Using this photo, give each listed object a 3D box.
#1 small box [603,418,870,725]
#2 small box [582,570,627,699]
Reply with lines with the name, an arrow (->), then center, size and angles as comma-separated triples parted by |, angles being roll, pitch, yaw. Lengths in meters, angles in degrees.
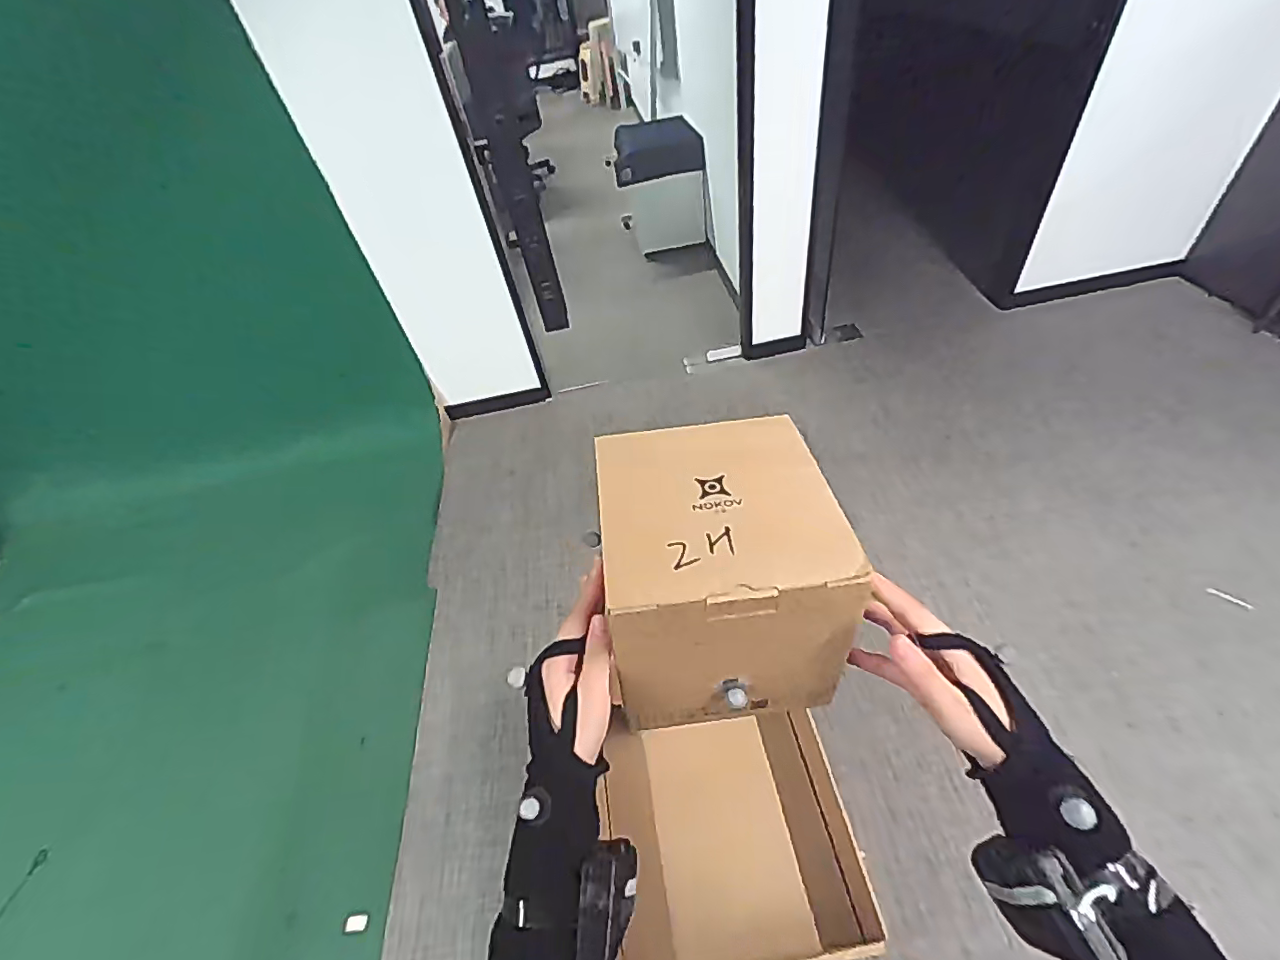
small box -> 0.059, 0.073, 0.442 | 0.168, 0.176, 0.179 | -6, 42, 0
small box -> 0.011, 0.256, 0.942 | 0.179, 0.176, 0.168 | -16, 47, -2
